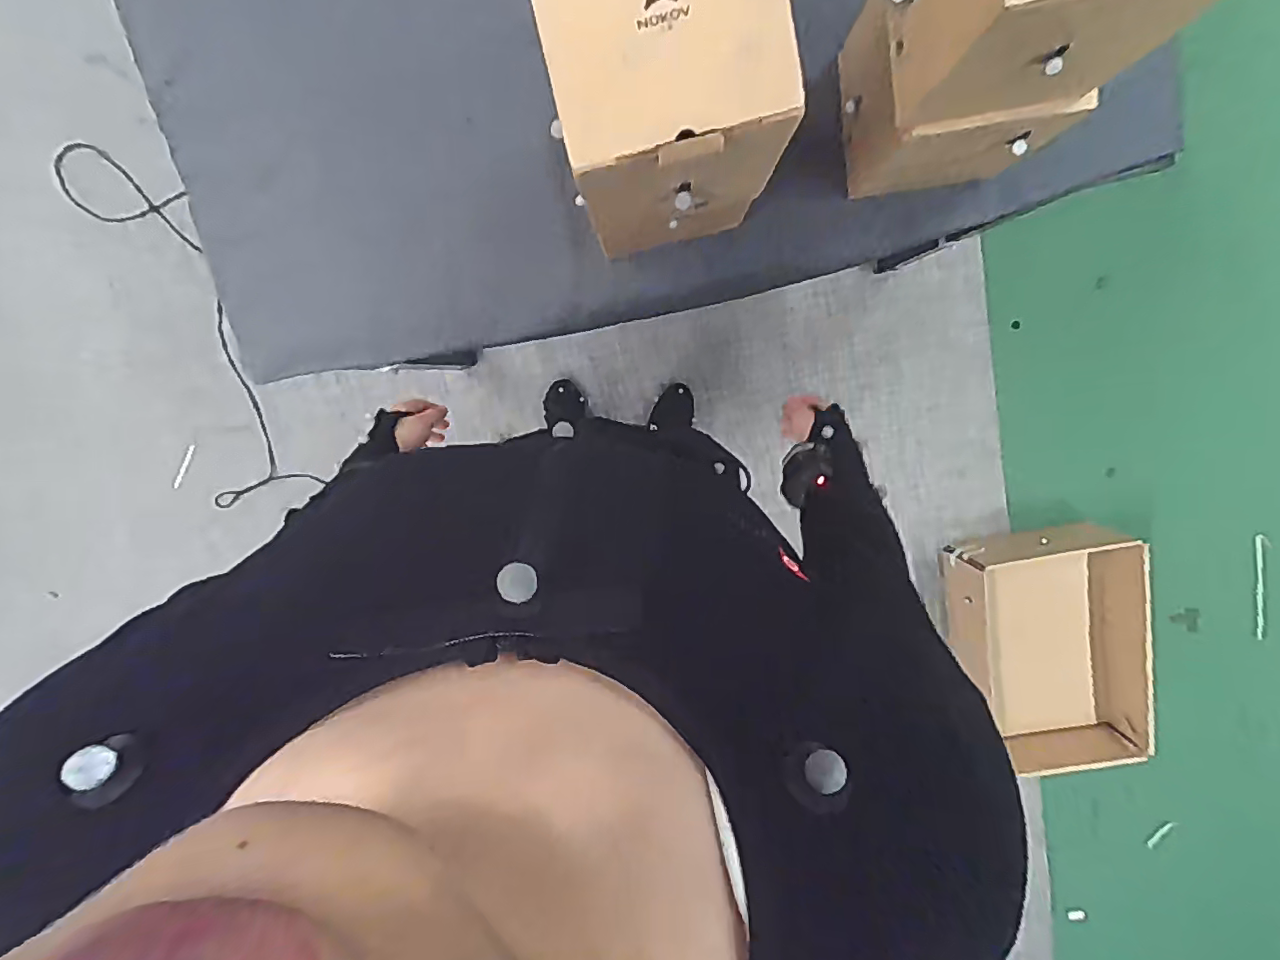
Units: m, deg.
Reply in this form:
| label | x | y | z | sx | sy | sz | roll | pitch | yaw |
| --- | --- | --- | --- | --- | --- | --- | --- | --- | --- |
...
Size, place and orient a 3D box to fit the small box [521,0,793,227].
| label | x | y | z | sx | sy | sz | roll | pitch | yaw |
| --- | --- | --- | --- | --- | --- | --- | --- | --- | --- |
| small box | 0.010 | -0.320 | 0.432 | 0.168 | 0.176 | 0.179 | -13 | 100 | 4 |

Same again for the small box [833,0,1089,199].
| label | x | y | z | sx | sy | sz | roll | pitch | yaw |
| --- | --- | --- | --- | --- | --- | --- | --- | --- | --- |
| small box | 0.322 | -0.420 | 0.571 | 0.179 | 0.176 | 0.168 | -8 | 99 | 3 |

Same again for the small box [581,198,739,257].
| label | x | y | z | sx | sy | sz | roll | pitch | yaw |
| --- | --- | --- | --- | --- | --- | --- | --- | --- | --- |
| small box | 0.013 | -0.360 | 0.592 | 0.179 | 0.176 | 0.168 | -13 | 100 | 2 |

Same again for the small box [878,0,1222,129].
| label | x | y | z | sx | sy | sz | roll | pitch | yaw |
| --- | --- | --- | --- | --- | --- | --- | --- | --- | --- |
| small box | 0.302 | -0.402 | 0.408 | 0.179 | 0.176 | 0.168 | -9 | 99 | 4 |
